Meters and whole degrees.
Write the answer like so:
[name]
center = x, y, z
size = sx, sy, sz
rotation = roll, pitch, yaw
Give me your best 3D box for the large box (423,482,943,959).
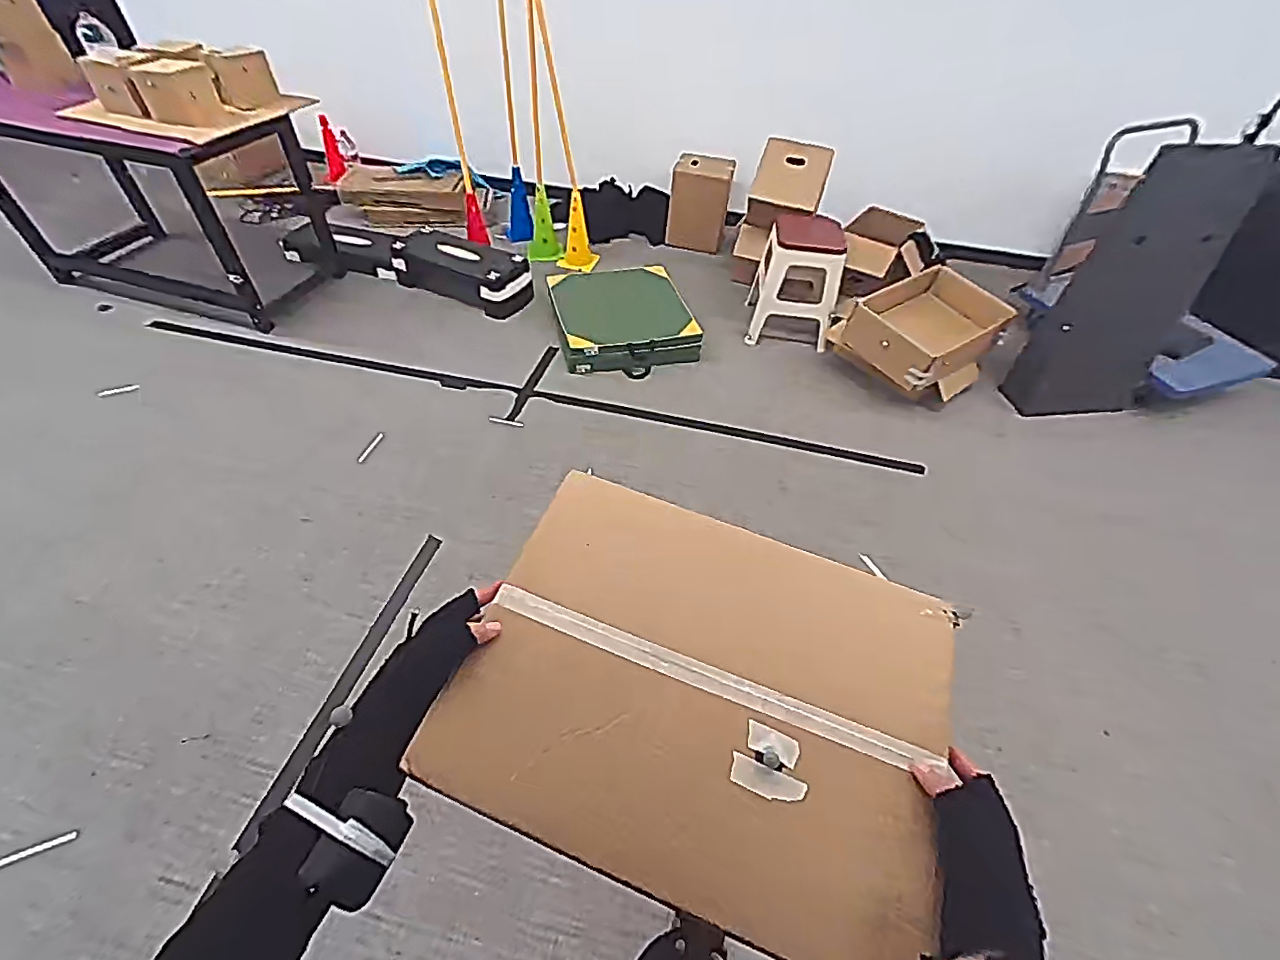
[large box]
center = 0.051, 0.263, 0.603
size = 0.408, 0.320, 0.320
rotation = 20, 56, 10
